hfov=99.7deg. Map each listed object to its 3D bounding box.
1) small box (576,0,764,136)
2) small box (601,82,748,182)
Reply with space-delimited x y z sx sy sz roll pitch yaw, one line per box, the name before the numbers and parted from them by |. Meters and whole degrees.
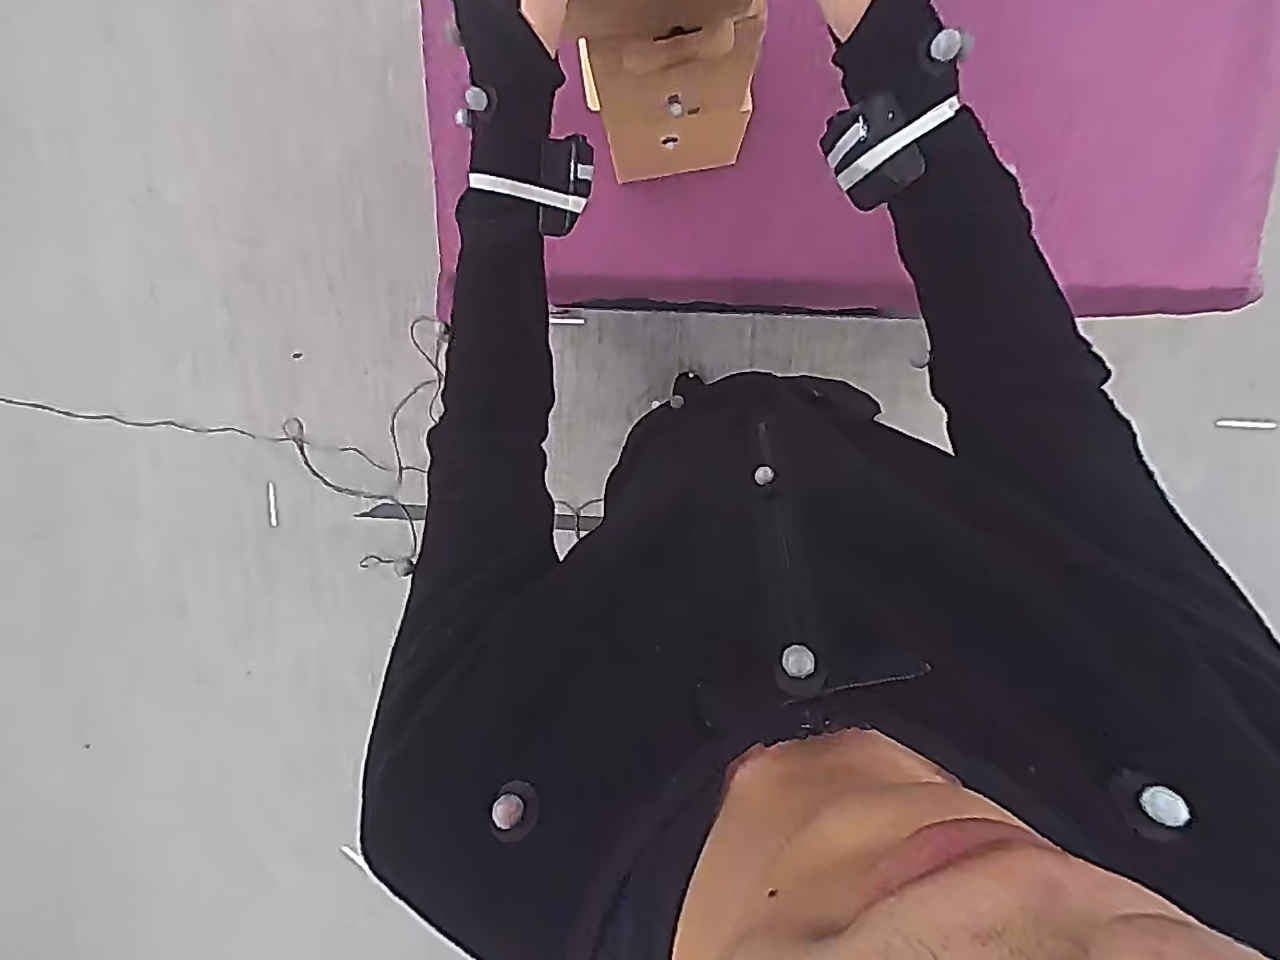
small box | 0.020 -0.492 0.548 0.168 0.176 0.179 -9 100 5
small box | 0.036 -0.517 0.711 0.179 0.176 0.168 -8 100 3
